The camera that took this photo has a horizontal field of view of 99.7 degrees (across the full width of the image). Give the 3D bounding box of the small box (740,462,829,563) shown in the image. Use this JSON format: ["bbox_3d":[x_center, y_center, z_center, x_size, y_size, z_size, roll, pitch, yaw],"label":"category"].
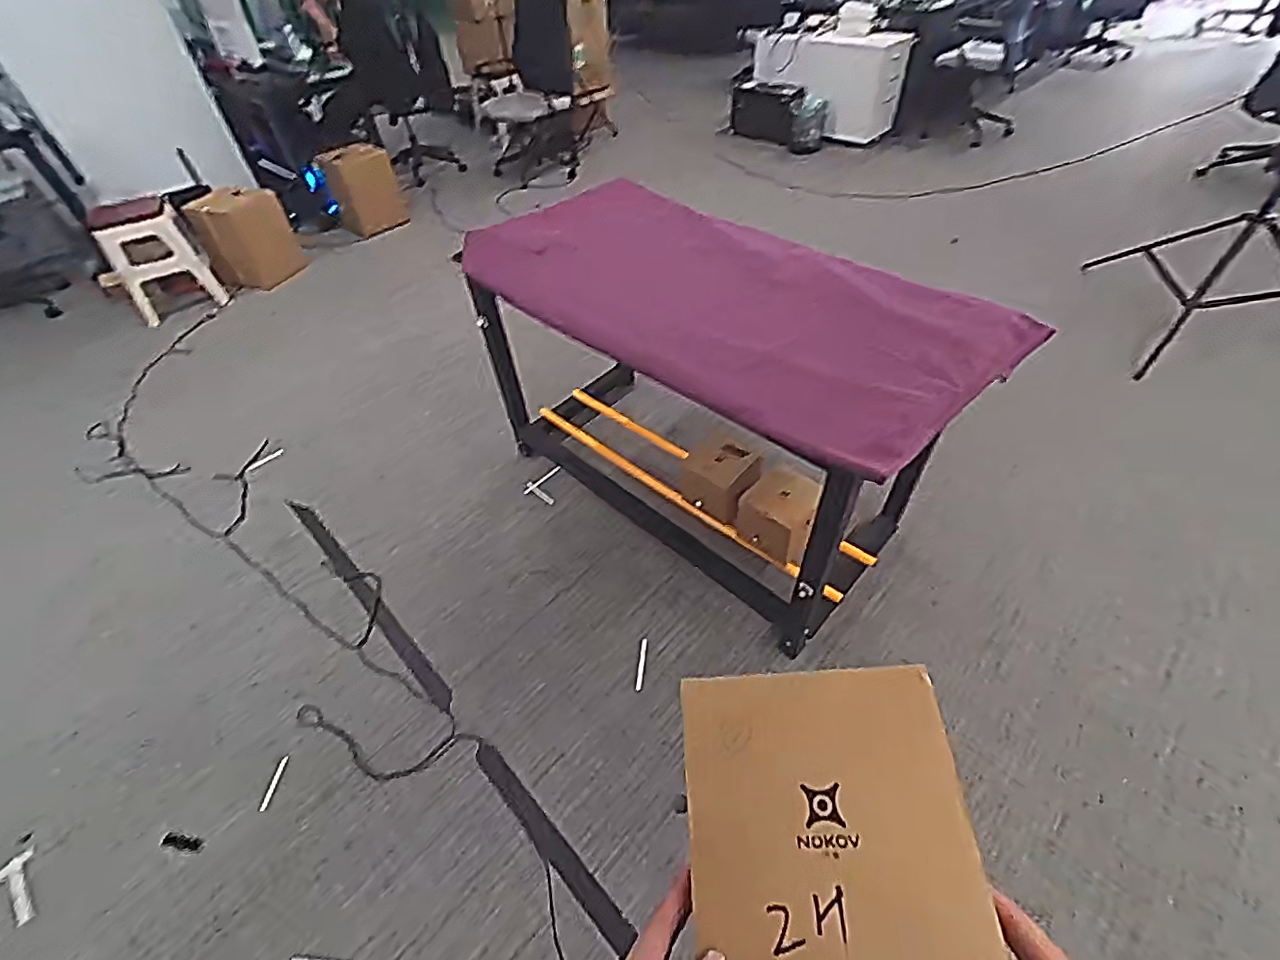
[{"bbox_3d":[0.384,0.088,1.471,0.168,0.176,0.179,33,59,30],"label":"small box"}]

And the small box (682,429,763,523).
[{"bbox_3d":[0.237,-0.011,1.577,0.168,0.176,0.179,33,60,30],"label":"small box"}]

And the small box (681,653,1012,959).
[{"bbox_3d":[0.123,0.237,0.388,0.168,0.176,0.179,-7,59,9],"label":"small box"}]
